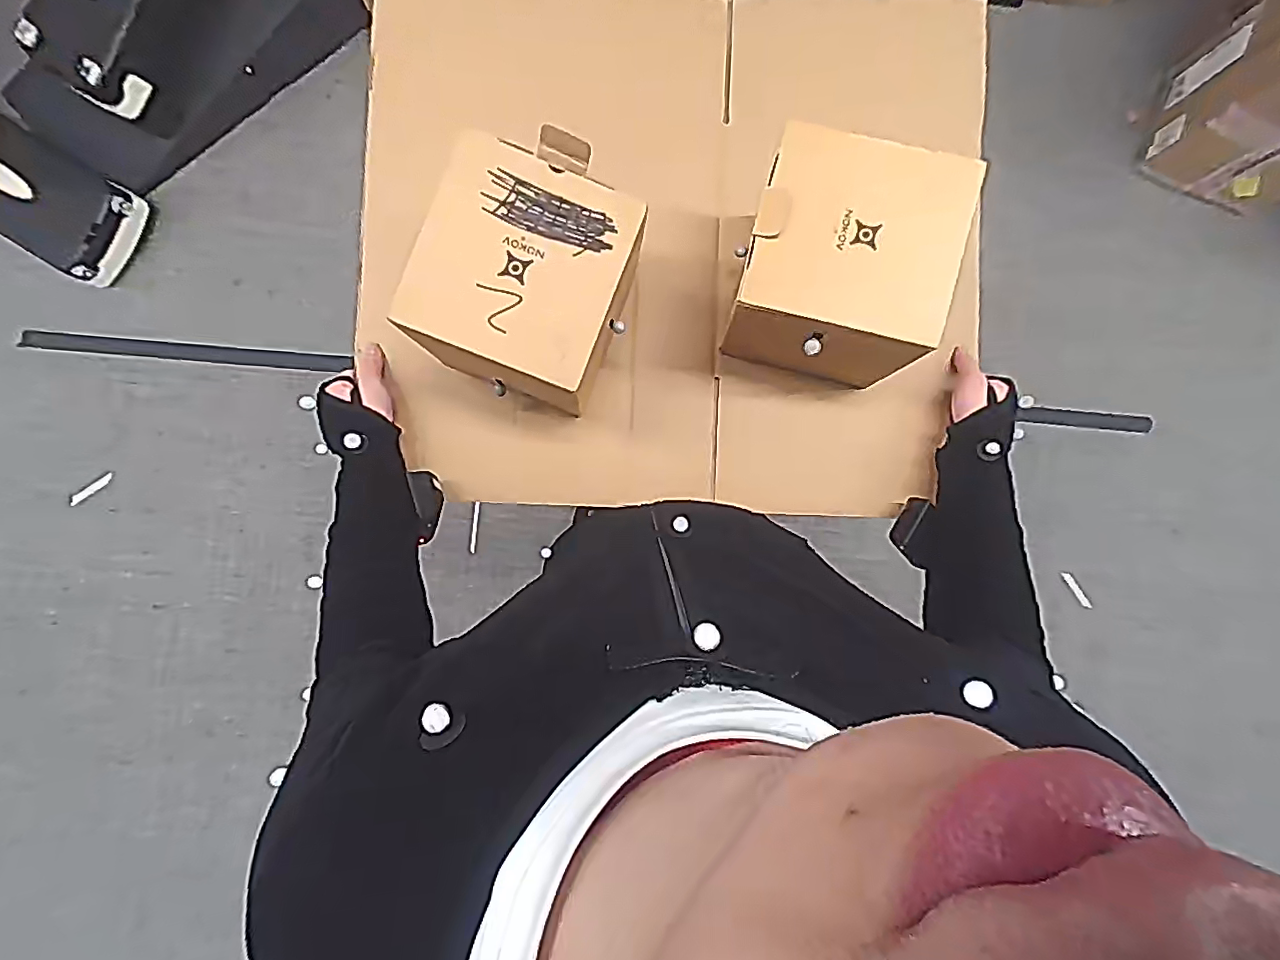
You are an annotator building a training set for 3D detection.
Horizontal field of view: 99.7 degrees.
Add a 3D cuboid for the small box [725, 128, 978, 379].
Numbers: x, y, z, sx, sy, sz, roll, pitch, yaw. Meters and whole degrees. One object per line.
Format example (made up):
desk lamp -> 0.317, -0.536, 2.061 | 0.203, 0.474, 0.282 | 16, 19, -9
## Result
small box -> 0.196, -0.211, 0.553 | 0.179, 0.176, 0.168 | 15, 90, 5
